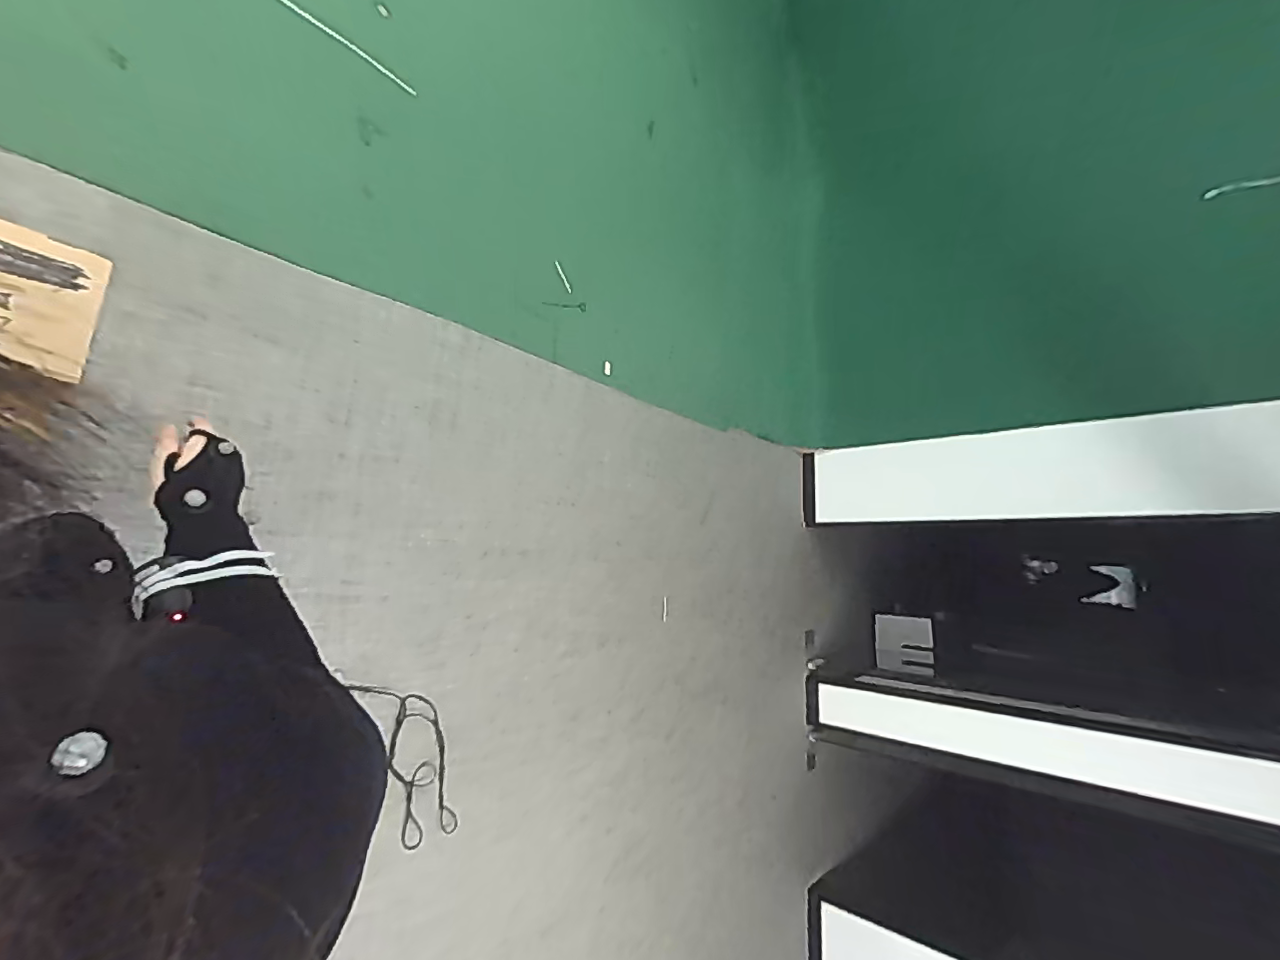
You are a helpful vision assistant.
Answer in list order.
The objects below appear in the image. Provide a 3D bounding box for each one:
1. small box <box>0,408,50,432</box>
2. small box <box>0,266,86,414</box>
[{"bbox_3d":[-1.074,-0.186,0.890,0.168,0.176,0.179,18,73,-48],"label":"small box"},{"bbox_3d":[-0.948,-0.204,0.787,0.168,0.176,0.179,15,74,-49],"label":"small box"}]
